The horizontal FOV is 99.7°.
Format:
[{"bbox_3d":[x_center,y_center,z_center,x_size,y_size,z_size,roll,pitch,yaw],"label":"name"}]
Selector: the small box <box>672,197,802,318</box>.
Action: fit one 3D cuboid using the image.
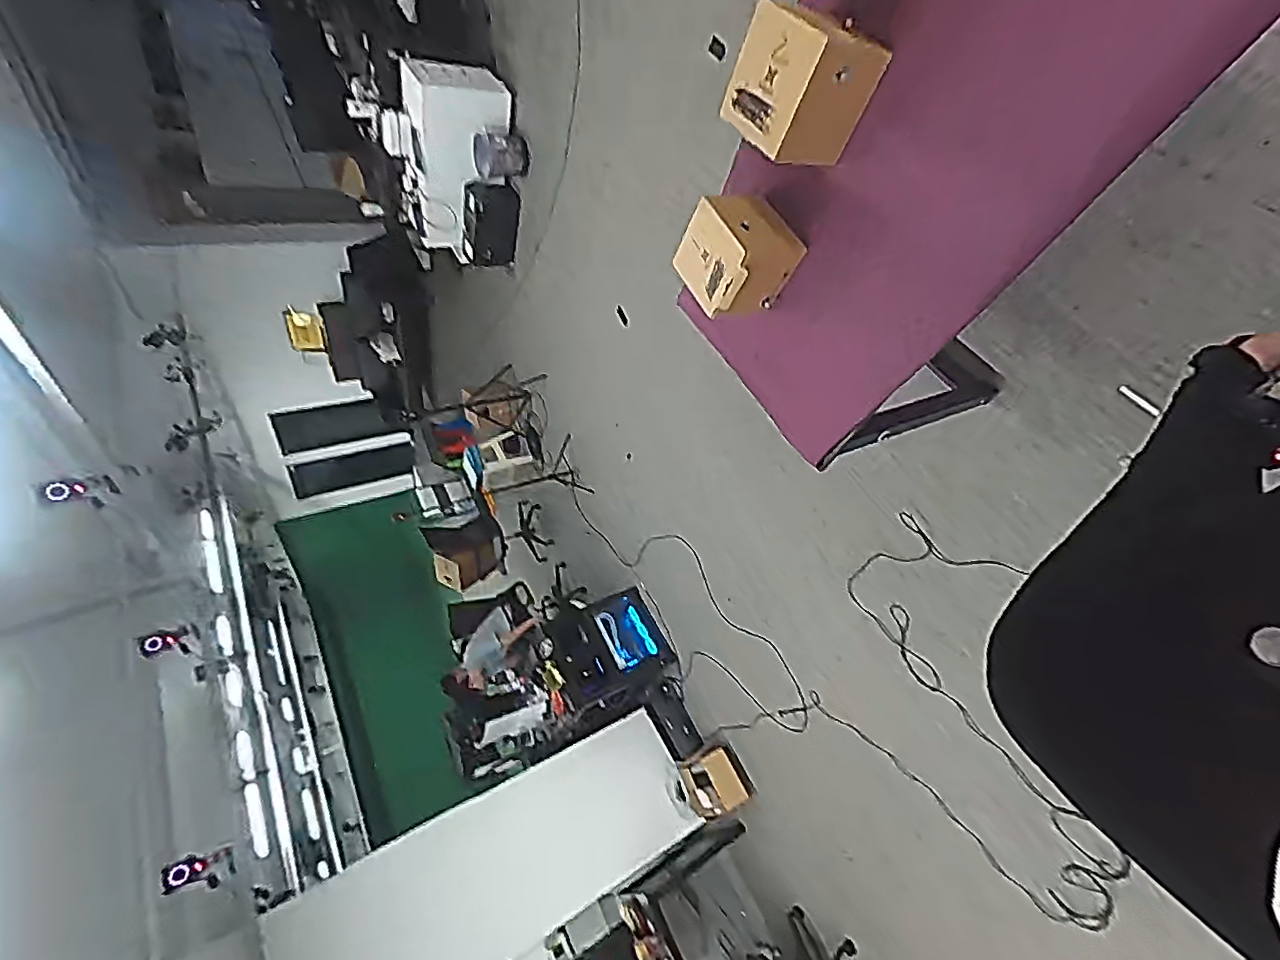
[{"bbox_3d":[0.202,-0.469,1.134,0.179,0.176,0.168,61,148,20],"label":"small box"}]
